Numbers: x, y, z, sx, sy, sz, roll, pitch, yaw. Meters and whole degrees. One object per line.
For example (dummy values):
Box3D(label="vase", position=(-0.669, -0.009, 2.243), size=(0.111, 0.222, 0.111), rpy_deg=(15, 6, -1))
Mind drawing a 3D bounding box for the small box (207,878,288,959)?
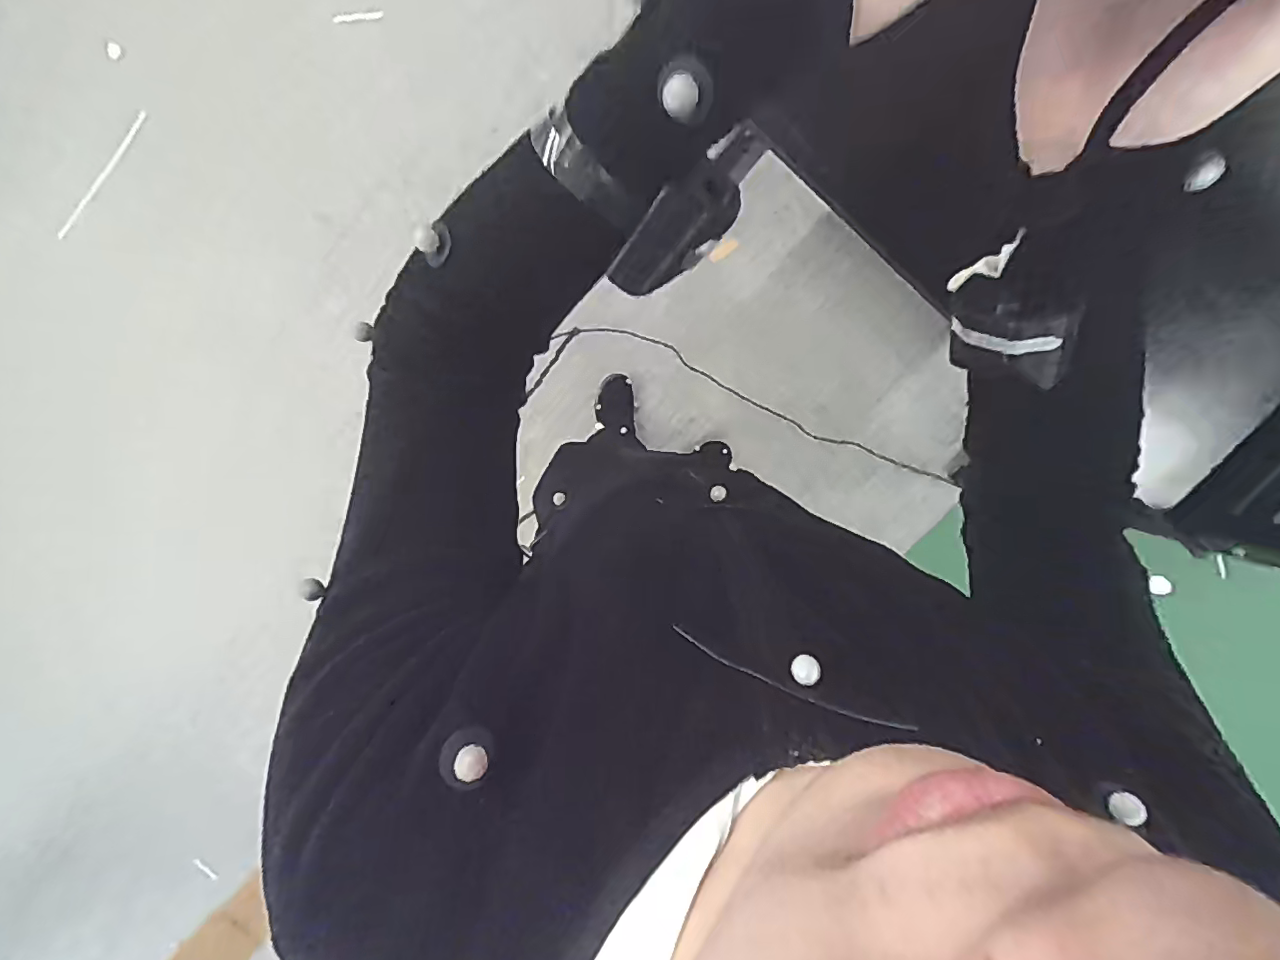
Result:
Box3D(label="small box", position=(-1.185, 1.332, 1.588), size=(0.168, 0.176, 0.179), rpy_deg=(42, 97, -2))

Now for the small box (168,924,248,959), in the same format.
Box3D(label="small box", position=(-1.190, 1.337, 1.422), size=(0.179, 0.176, 0.168), rpy_deg=(43, 96, -2))
